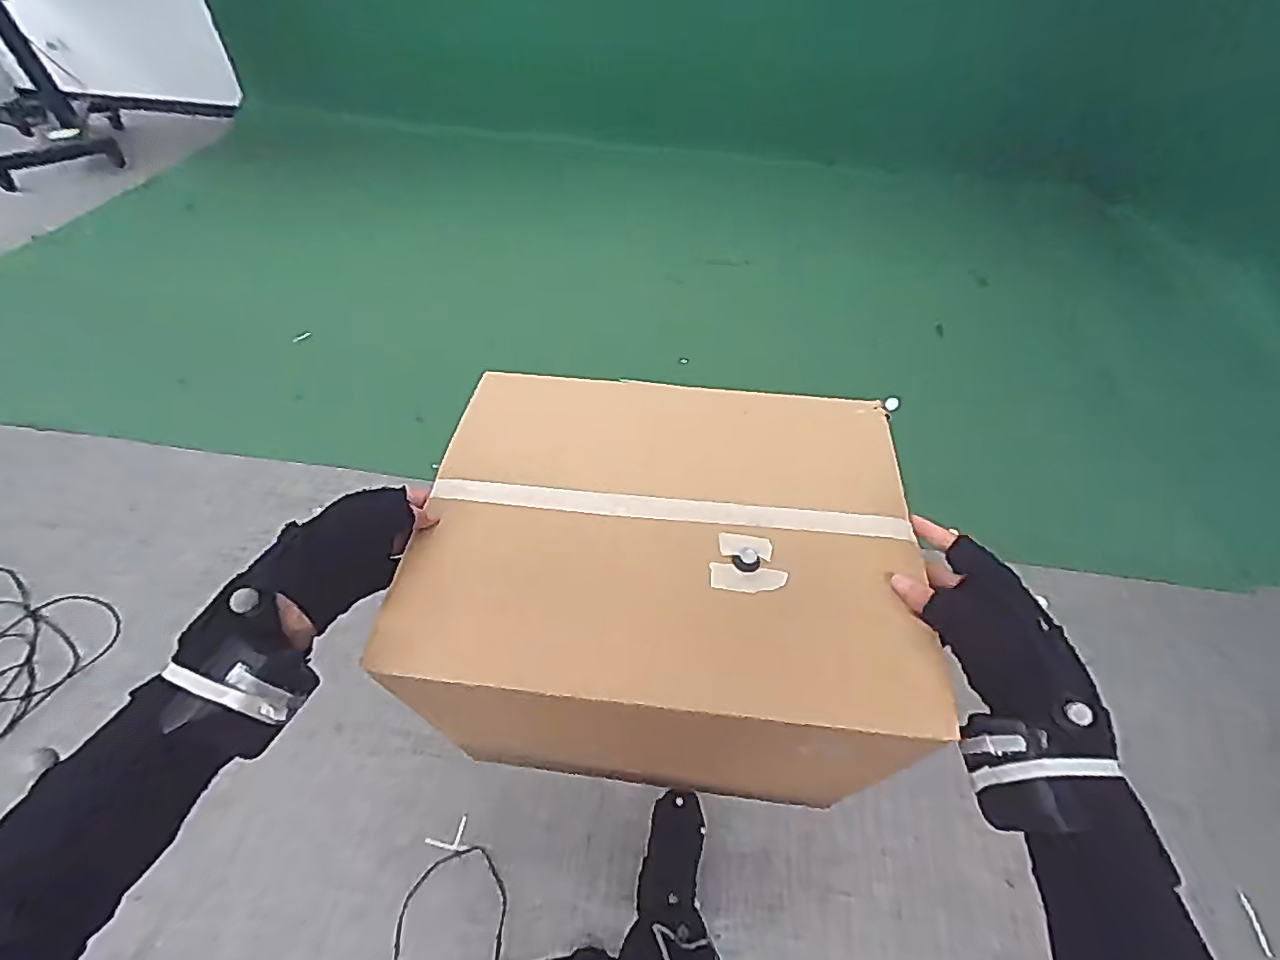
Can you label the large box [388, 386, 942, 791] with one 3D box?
[{"bbox_3d":[0.025,0.122,0.588,0.408,0.320,0.320,4,53,4],"label":"large box"}]
